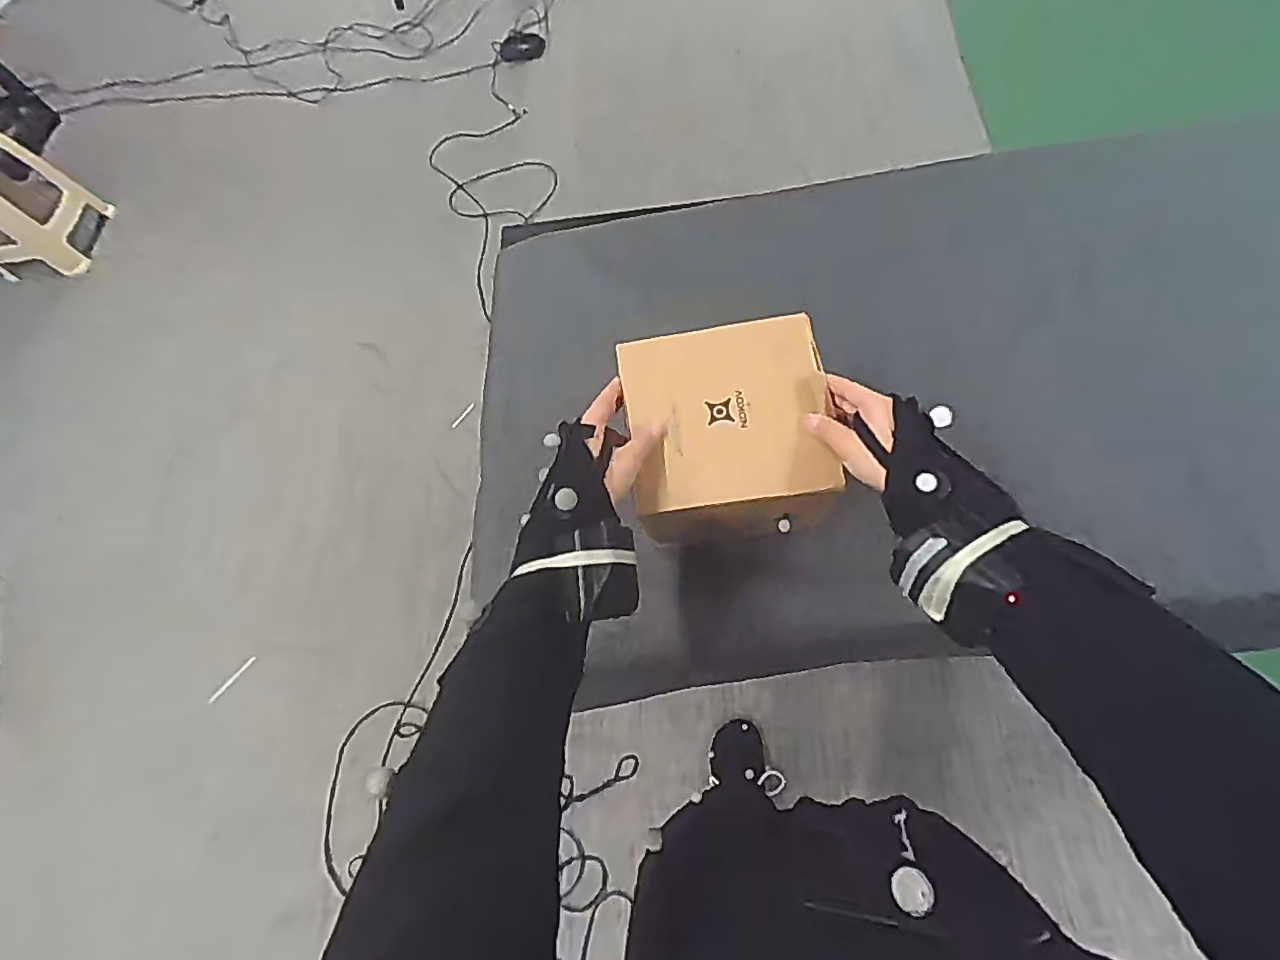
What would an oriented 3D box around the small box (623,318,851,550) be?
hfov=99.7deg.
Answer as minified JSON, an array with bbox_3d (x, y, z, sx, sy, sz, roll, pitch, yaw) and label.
[{"bbox_3d":[0.088,-0.033,0.540,0.179,0.176,0.168,-9,71,6],"label":"small box"}]
